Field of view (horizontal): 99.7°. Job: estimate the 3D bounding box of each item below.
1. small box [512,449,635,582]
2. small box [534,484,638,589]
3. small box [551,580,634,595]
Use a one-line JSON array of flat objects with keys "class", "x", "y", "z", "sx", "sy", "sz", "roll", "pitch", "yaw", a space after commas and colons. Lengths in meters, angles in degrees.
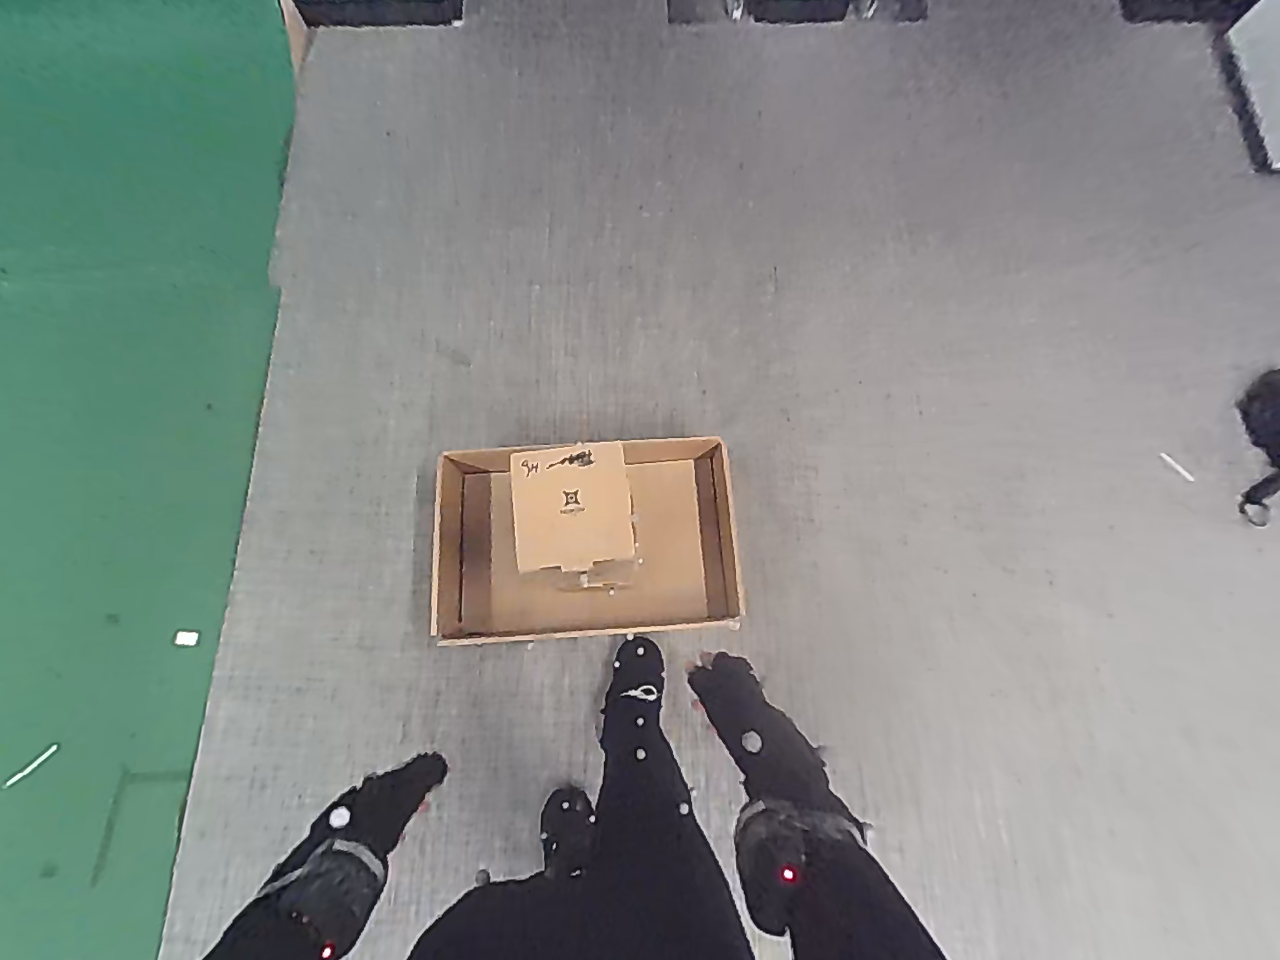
[{"class": "small box", "x": -0.097, "y": 0.064, "z": 0.842, "sx": 0.168, "sy": 0.176, "sz": 0.179, "roll": -6, "pitch": 75, "yaw": -2}, {"class": "small box", "x": -0.096, "y": 0.109, "z": 0.999, "sx": 0.179, "sy": 0.176, "sz": 0.168, "roll": -3, "pitch": 74, "yaw": 0}, {"class": "small box", "x": -0.096, "y": 0.153, "z": 1.157, "sx": 0.168, "sy": 0.176, "sz": 0.179, "roll": -1, "pitch": 73, "yaw": -1}]
